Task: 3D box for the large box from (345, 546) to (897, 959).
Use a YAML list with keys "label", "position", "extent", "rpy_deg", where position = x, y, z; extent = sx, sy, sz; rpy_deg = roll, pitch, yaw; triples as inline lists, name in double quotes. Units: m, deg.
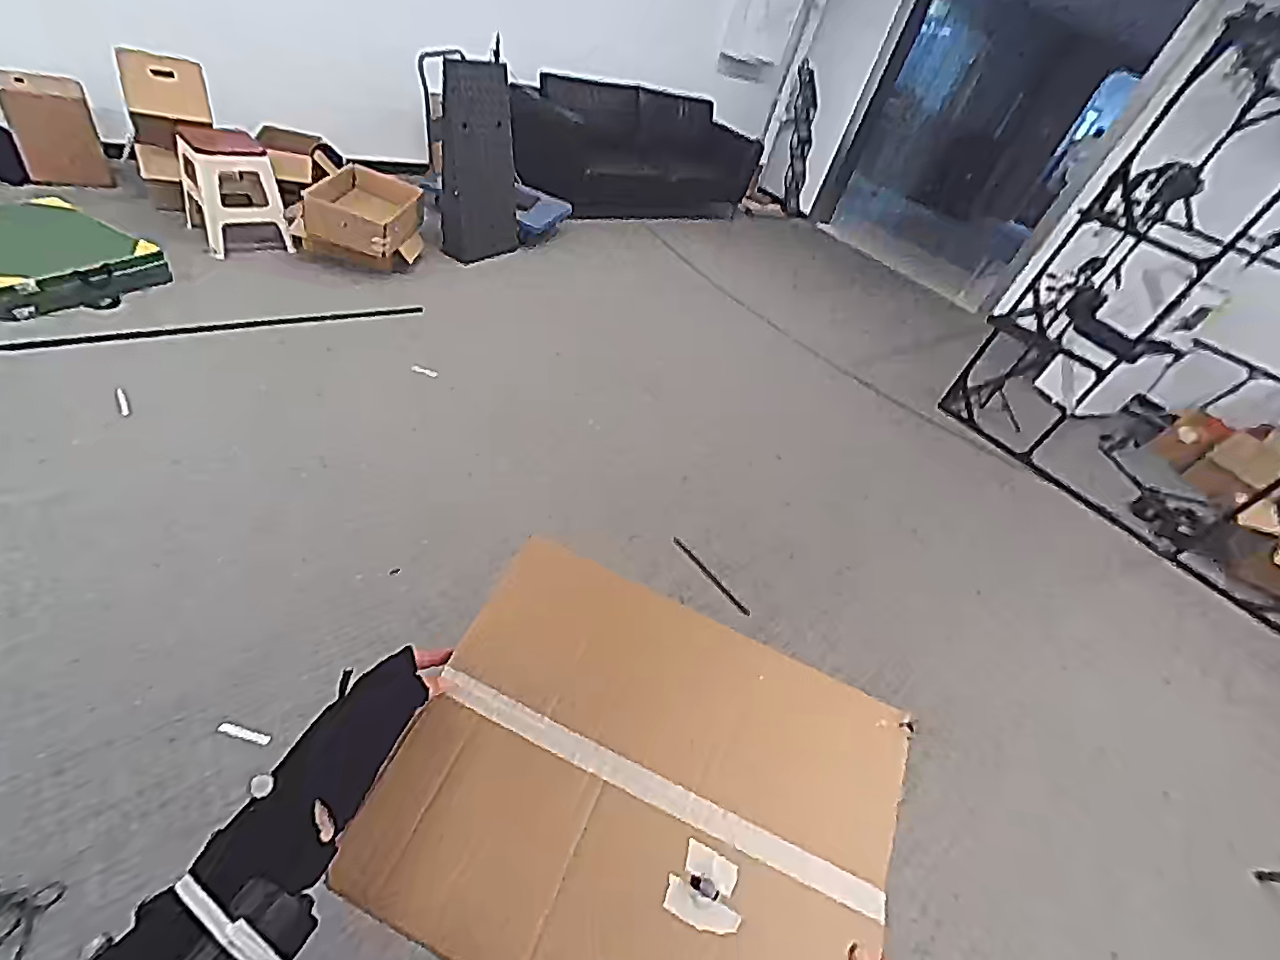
- label: "large box"
  position: [-0.010, 0.337, 0.591]
  extent: [0.408, 0.320, 0.320]
  rpy_deg: [25, 58, 7]
